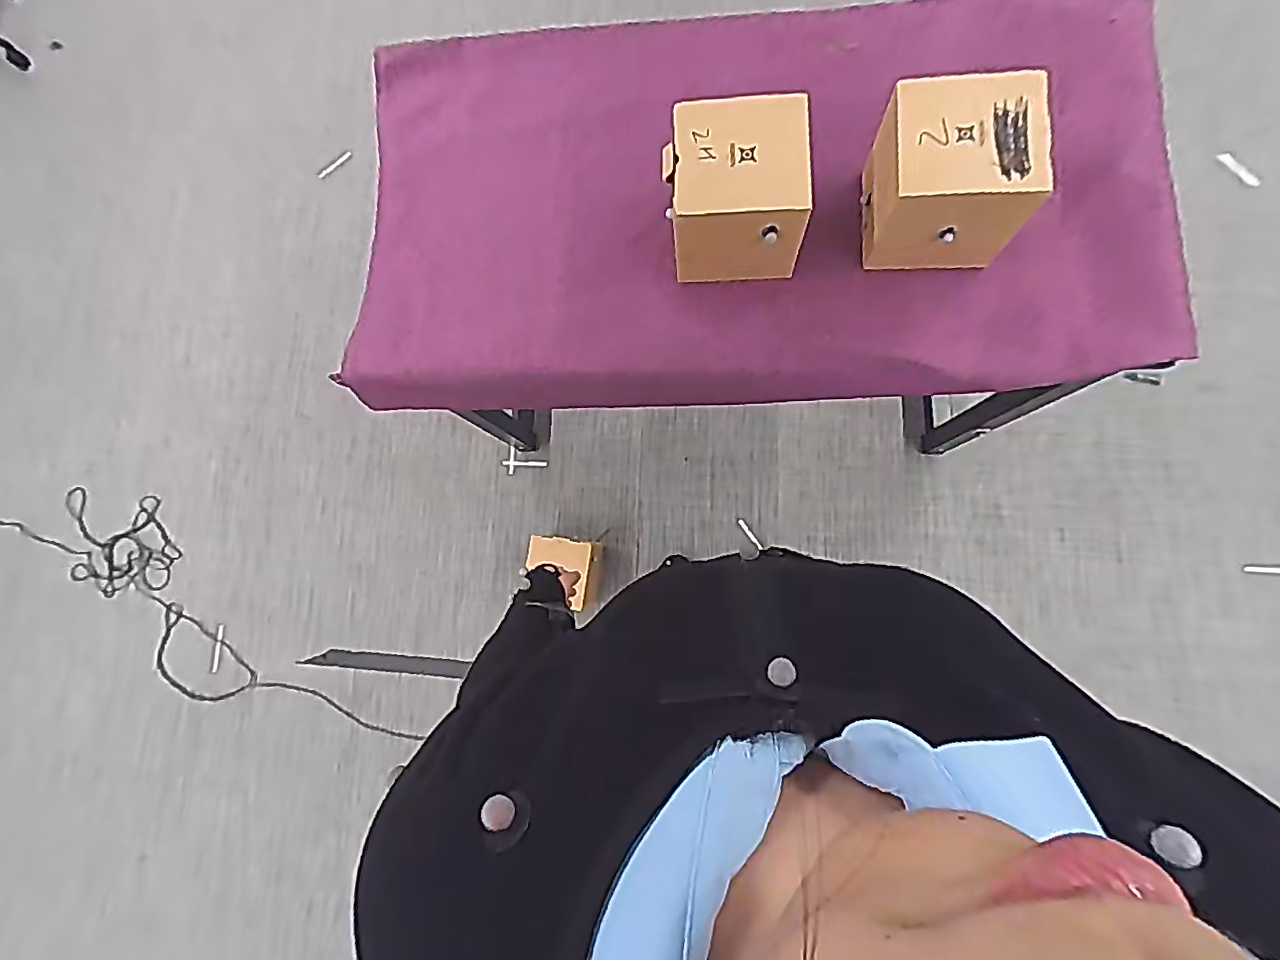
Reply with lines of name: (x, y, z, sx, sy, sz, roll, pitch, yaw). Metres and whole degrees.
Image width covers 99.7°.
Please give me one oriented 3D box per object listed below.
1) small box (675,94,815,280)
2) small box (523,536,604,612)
small box: (0.142, -0.404, 0.771, 0.179, 0.176, 0.168, 0, 81, 7)
small box: (-0.199, 0.250, 1.462, 0.168, 0.176, 0.179, 7, 82, 8)
